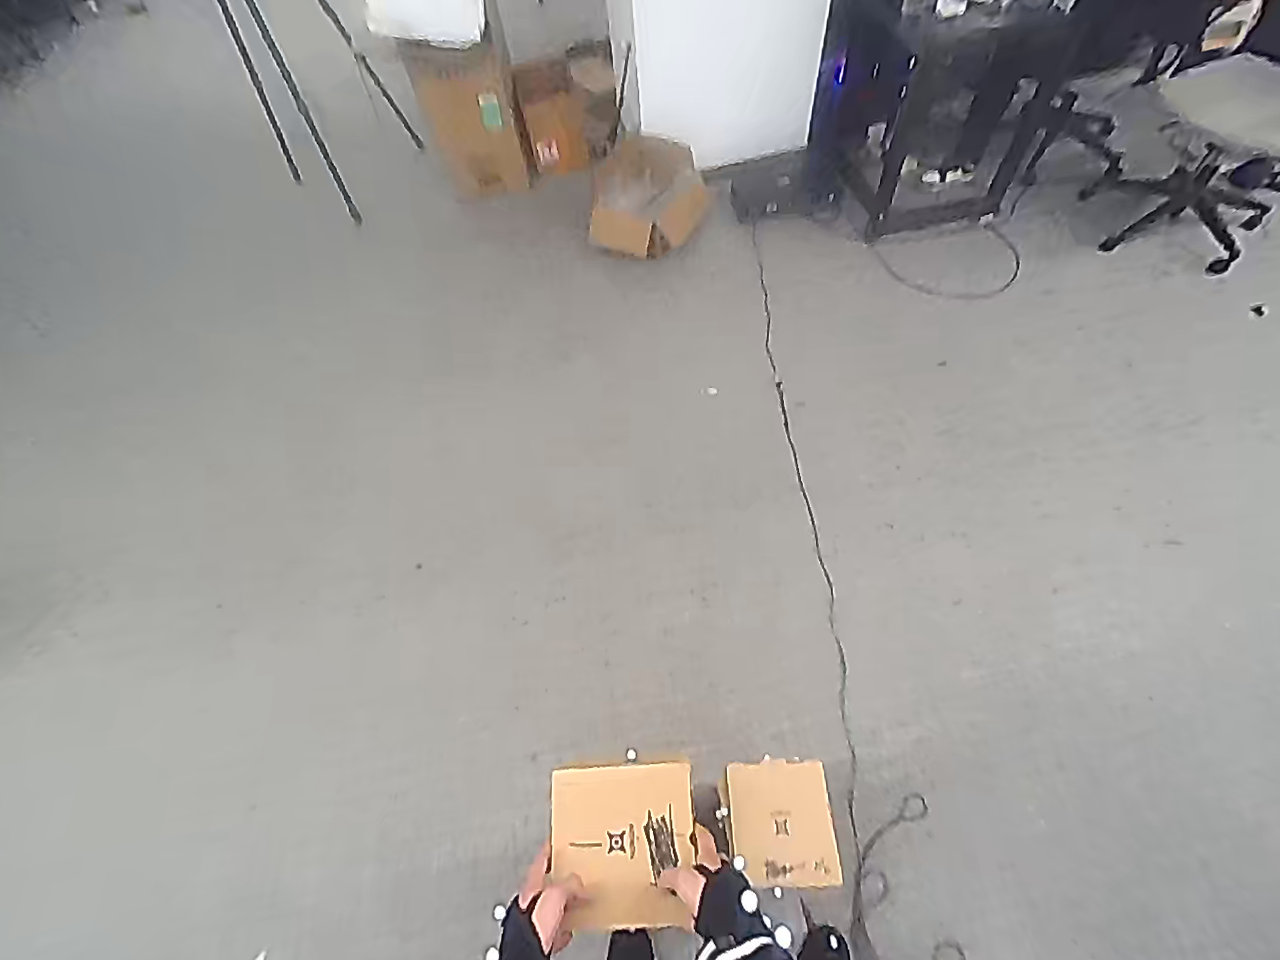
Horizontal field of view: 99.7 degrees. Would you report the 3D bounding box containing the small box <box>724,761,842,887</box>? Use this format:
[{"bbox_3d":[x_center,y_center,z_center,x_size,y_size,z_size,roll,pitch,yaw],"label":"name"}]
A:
[{"bbox_3d":[0.240,0.604,0.953,0.168,0.176,0.179,-4,57,5],"label":"small box"}]

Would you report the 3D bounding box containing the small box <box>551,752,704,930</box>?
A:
[{"bbox_3d":[-0.016,0.461,0.715,0.179,0.176,0.168,-3,67,1],"label":"small box"}]
